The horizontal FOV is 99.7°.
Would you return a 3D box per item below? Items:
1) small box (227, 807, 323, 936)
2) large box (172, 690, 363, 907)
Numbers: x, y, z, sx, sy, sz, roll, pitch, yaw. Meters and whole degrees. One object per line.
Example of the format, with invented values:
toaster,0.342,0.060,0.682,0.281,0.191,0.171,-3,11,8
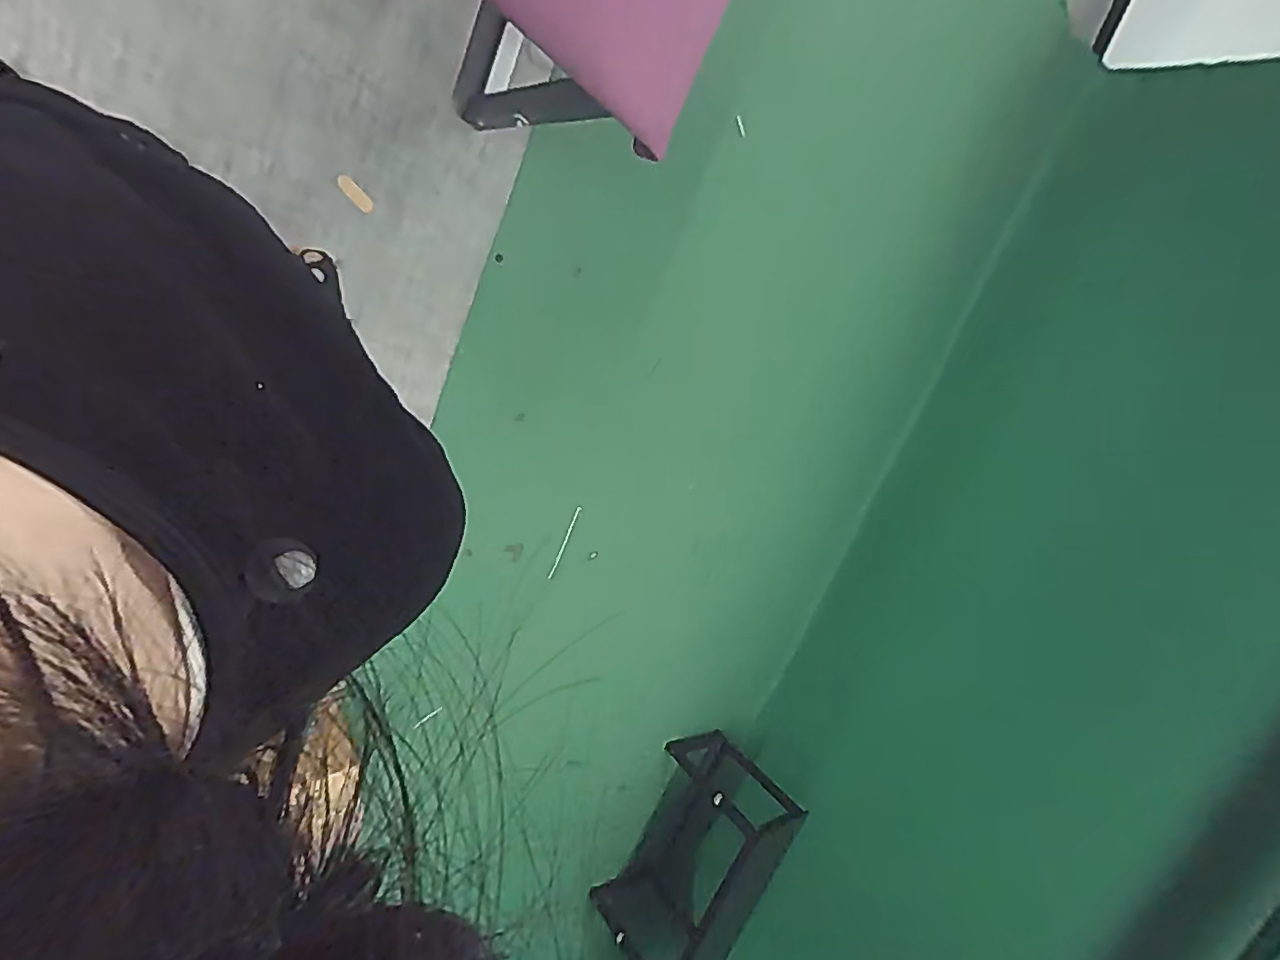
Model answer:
small box,-0.929,0.979,1.373,0.179,0.176,0.168,-1,112,-42
large box,-1.062,0.880,1.557,0.408,0.320,0.320,-6,118,-42
